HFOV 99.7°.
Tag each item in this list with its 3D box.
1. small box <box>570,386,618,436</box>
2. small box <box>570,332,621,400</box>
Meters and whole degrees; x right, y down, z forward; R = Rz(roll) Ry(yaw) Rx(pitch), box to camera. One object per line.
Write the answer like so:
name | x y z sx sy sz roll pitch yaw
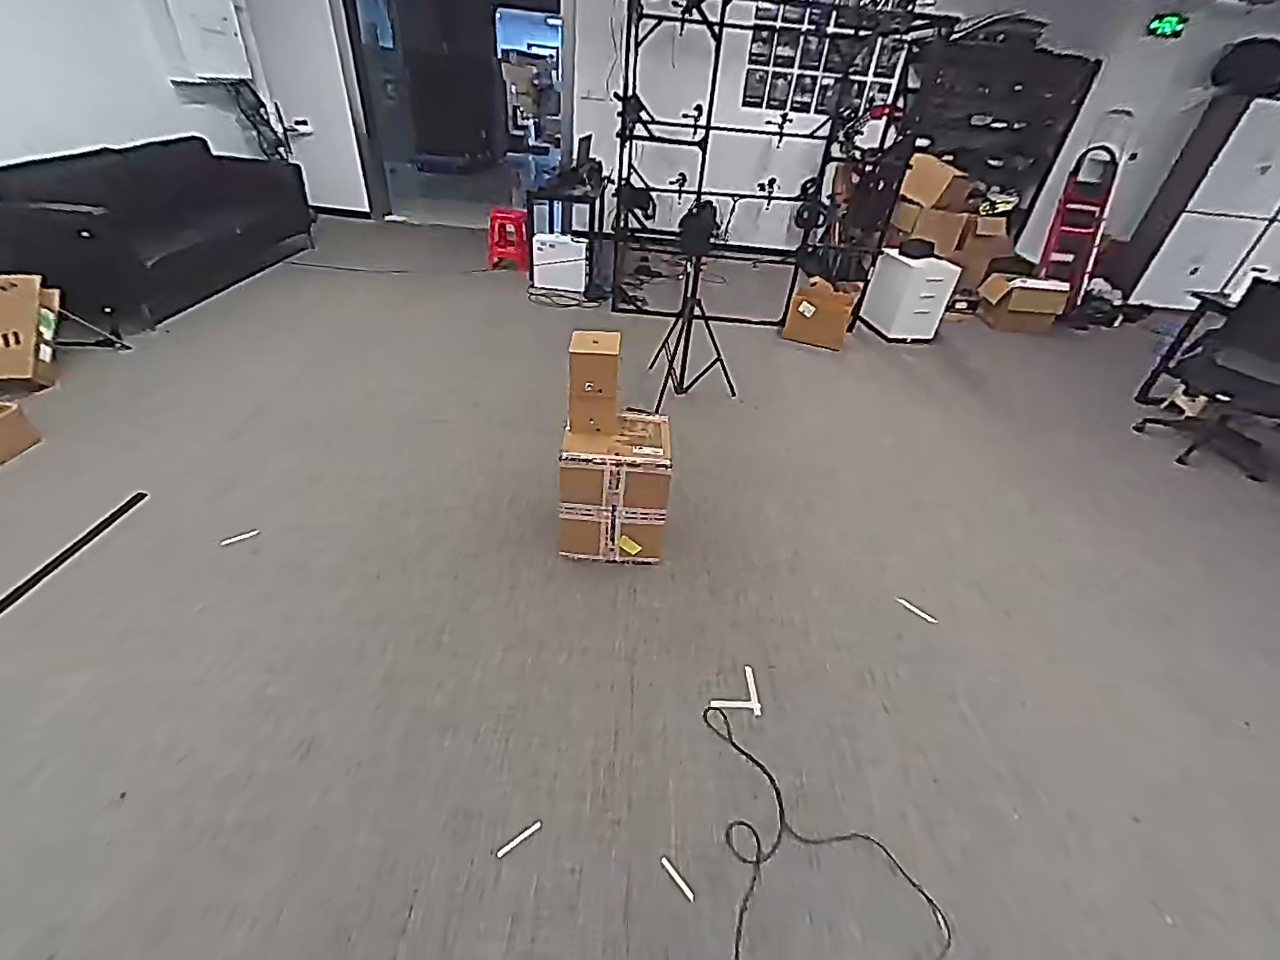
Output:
small box | -0.167 -0.281 1.990 0.168 0.176 0.179 2 39 -2
small box | -0.152 -0.395 1.873 0.168 0.176 0.179 2 39 -2
